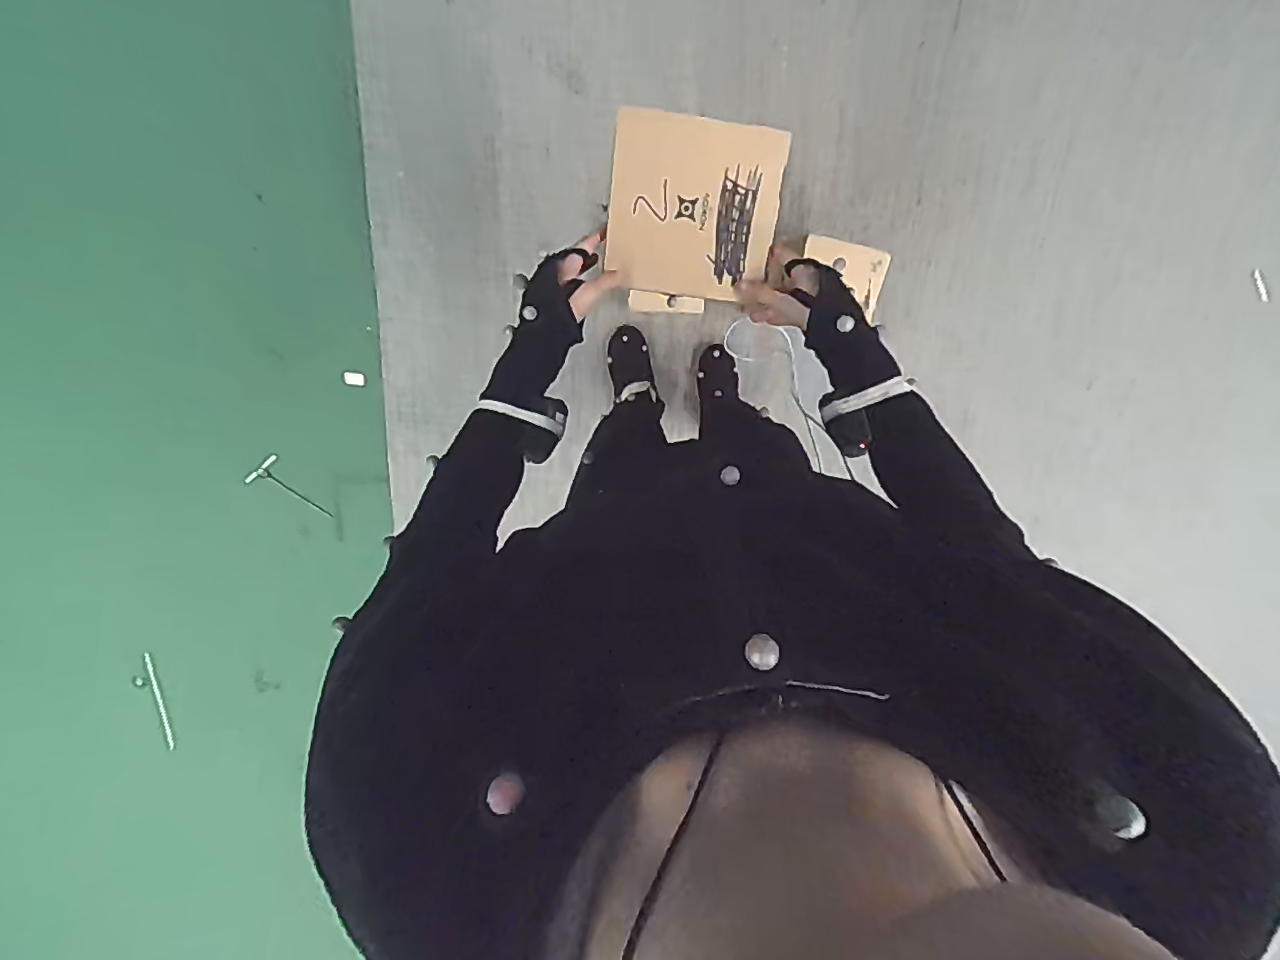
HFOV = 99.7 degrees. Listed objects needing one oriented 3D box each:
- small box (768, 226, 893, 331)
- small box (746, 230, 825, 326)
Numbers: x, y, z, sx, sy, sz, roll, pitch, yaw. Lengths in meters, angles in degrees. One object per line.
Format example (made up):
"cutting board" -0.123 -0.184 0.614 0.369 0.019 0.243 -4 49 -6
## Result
"small box" 0.386 -0.418 1.136 0.179 0.176 0.168 11 109 -5
"small box" 0.366 -0.477 1.289 0.168 0.176 0.179 12 109 -6
